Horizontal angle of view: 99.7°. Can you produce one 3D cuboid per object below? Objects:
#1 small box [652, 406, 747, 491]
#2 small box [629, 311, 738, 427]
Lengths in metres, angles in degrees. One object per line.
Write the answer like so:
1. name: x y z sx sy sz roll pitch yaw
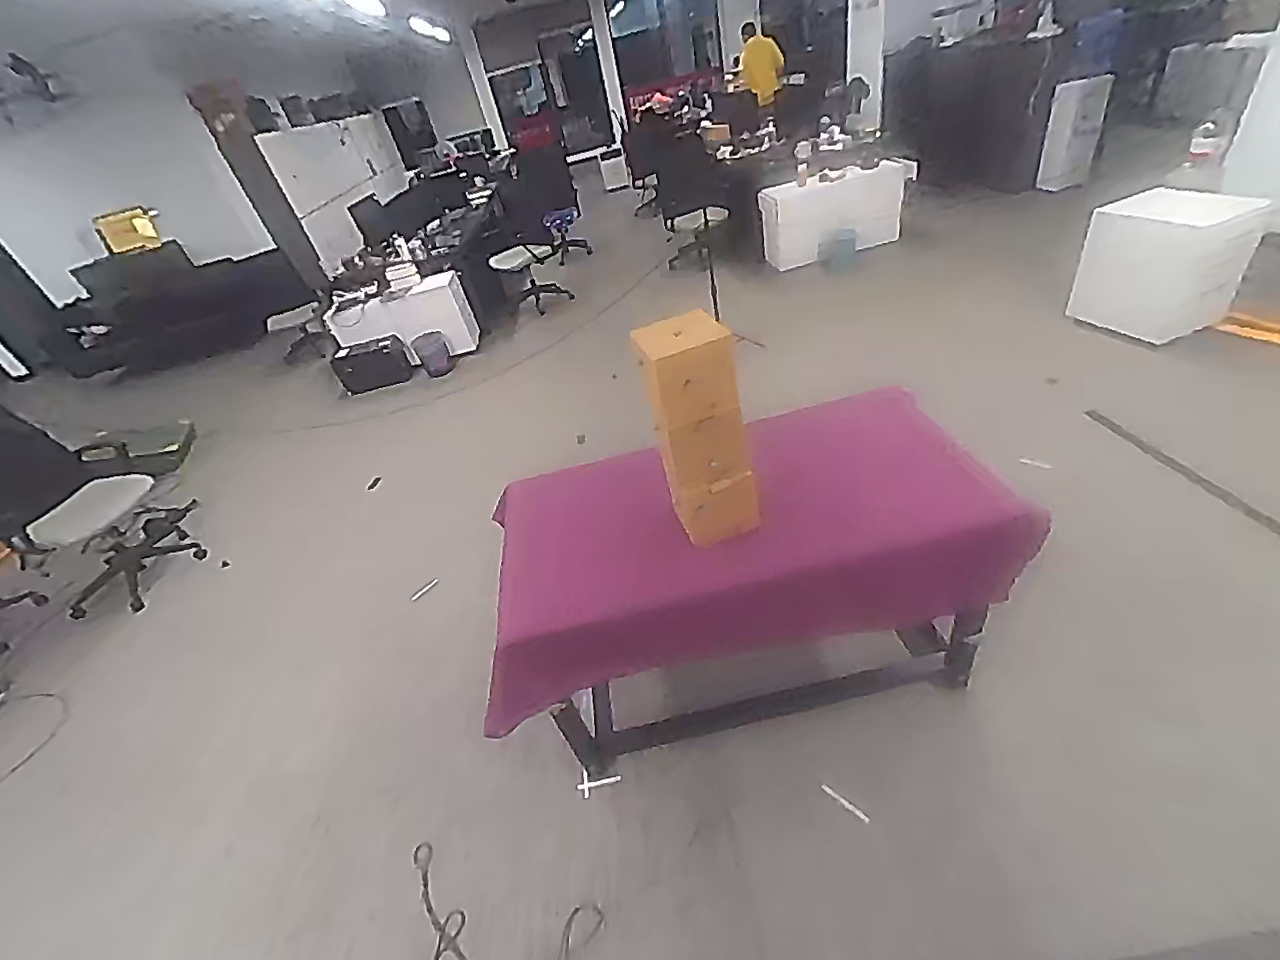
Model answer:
1. small box: 0.132 -0.104 1.233 0.168 0.176 0.179 -19 36 -3
2. small box: 0.094 -0.228 1.134 0.168 0.176 0.179 -20 35 -6
